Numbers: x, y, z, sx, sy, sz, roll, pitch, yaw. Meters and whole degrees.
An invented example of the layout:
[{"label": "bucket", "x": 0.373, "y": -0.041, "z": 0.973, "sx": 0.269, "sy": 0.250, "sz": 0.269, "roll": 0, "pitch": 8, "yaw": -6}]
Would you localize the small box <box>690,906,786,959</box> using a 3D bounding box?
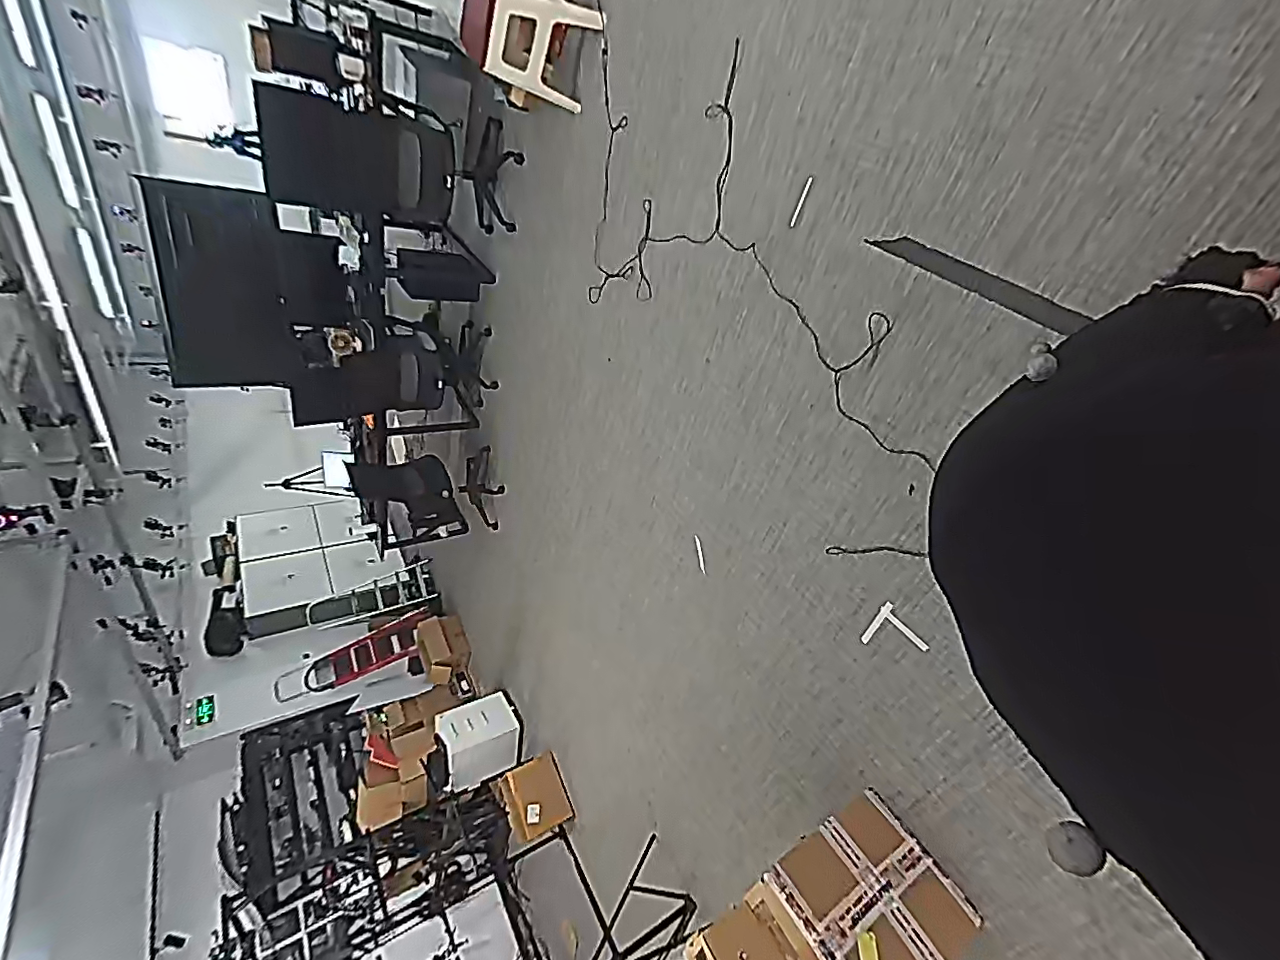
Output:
[{"label": "small box", "x": 0.271, "y": 1.305, "z": 1.469, "sx": 0.179, "sy": 0.176, "sz": 0.168, "roll": 50, "pitch": 134, "yaw": 38}]
